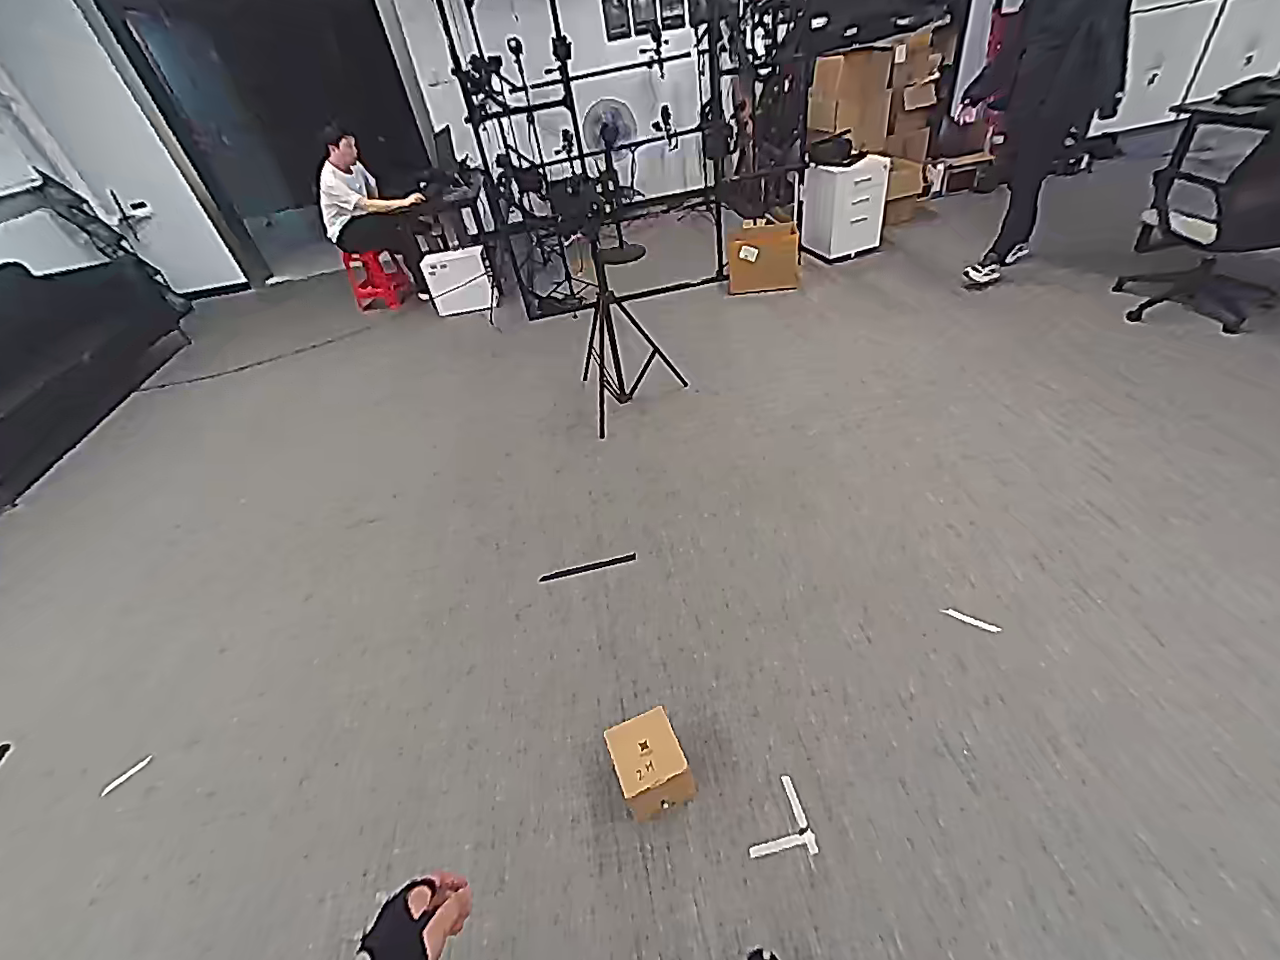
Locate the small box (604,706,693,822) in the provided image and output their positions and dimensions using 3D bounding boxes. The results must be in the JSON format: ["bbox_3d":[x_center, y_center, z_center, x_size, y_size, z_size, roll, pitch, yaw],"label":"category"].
[{"bbox_3d":[0.023,0.718,1.368,0.168,0.176,0.179,-20,41,-11],"label":"small box"}]
